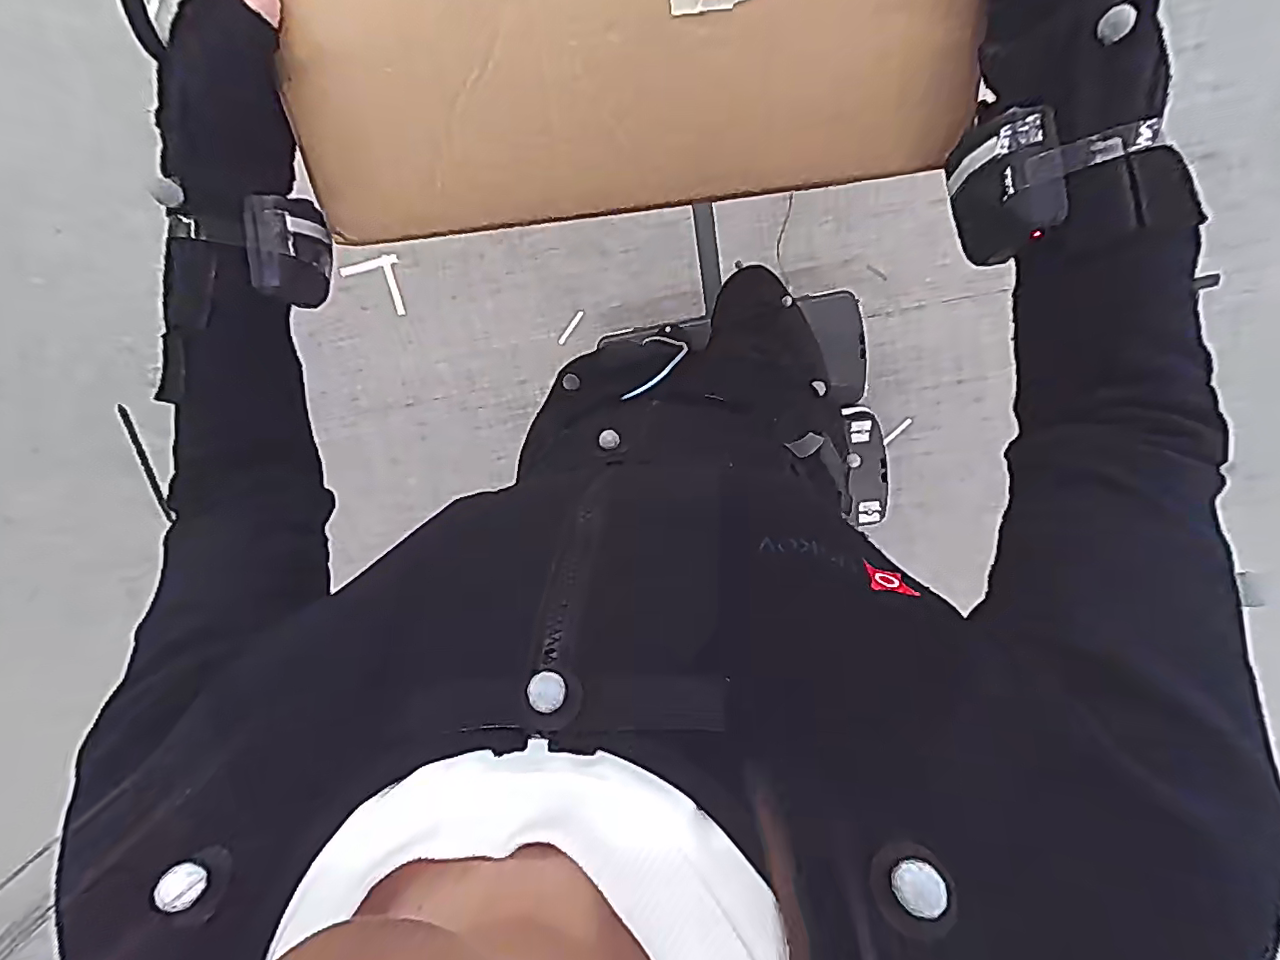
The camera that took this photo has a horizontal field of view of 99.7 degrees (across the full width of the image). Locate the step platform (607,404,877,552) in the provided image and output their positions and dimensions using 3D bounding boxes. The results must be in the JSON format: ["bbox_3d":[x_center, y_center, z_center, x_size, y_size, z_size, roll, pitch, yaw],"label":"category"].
[{"bbox_3d":[0.256,0.000,1.431,0.684,0.204,0.286,-9,104,11],"label":"step platform"}]

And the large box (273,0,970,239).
[{"bbox_3d":[-0.012,-0.389,0.417,0.408,0.320,0.320,-4,118,9],"label":"large box"}]
